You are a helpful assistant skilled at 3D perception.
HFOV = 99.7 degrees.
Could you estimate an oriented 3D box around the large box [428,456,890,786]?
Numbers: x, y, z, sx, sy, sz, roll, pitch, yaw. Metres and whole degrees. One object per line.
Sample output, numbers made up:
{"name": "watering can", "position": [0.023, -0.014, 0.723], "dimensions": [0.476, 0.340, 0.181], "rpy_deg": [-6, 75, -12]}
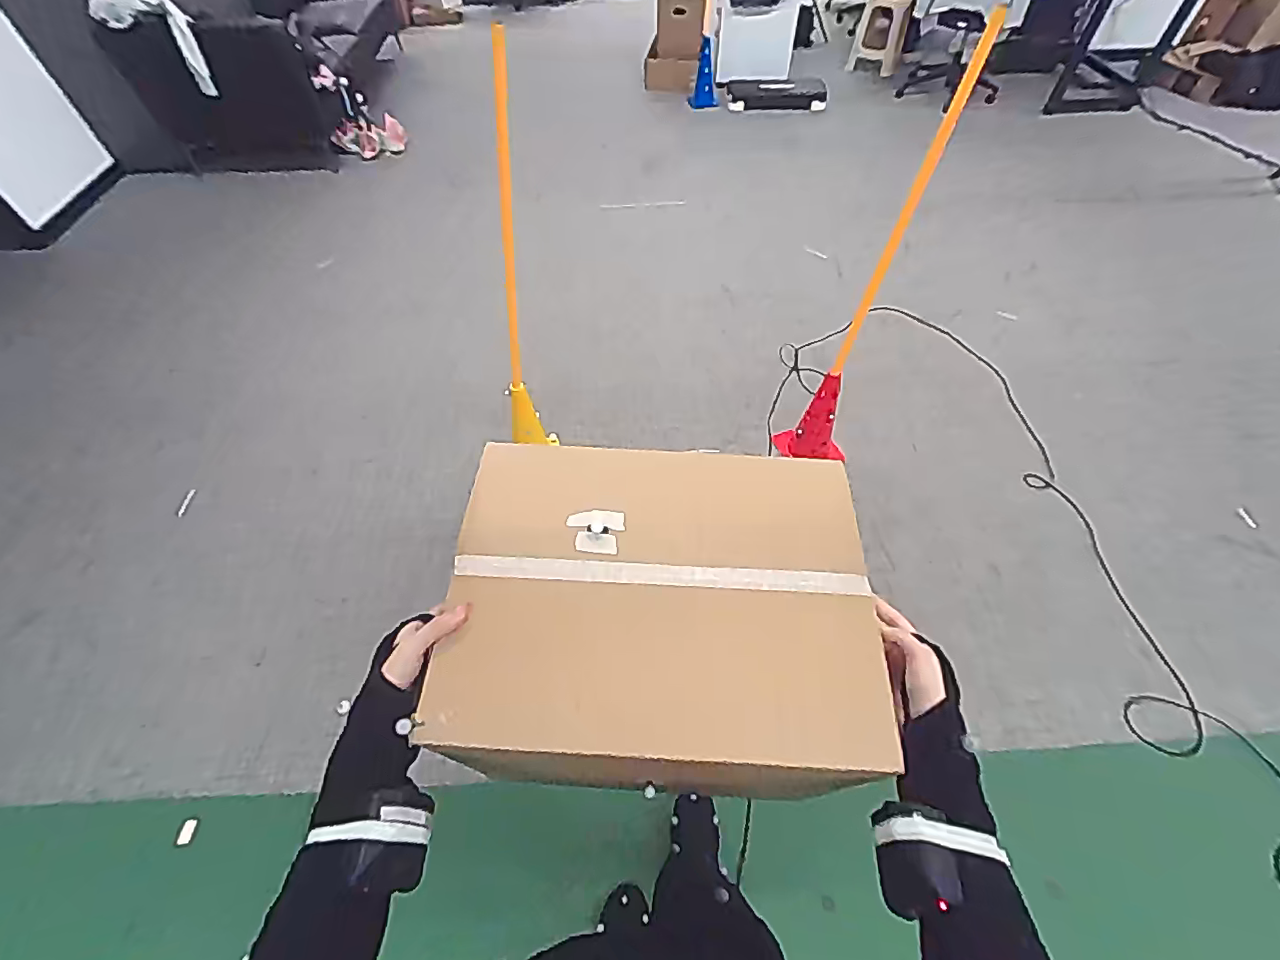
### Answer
{"name": "large box", "position": [0.022, 0.186, 0.665], "dimensions": [0.408, 0.320, 0.320], "rpy_deg": [2, 55, 2]}
